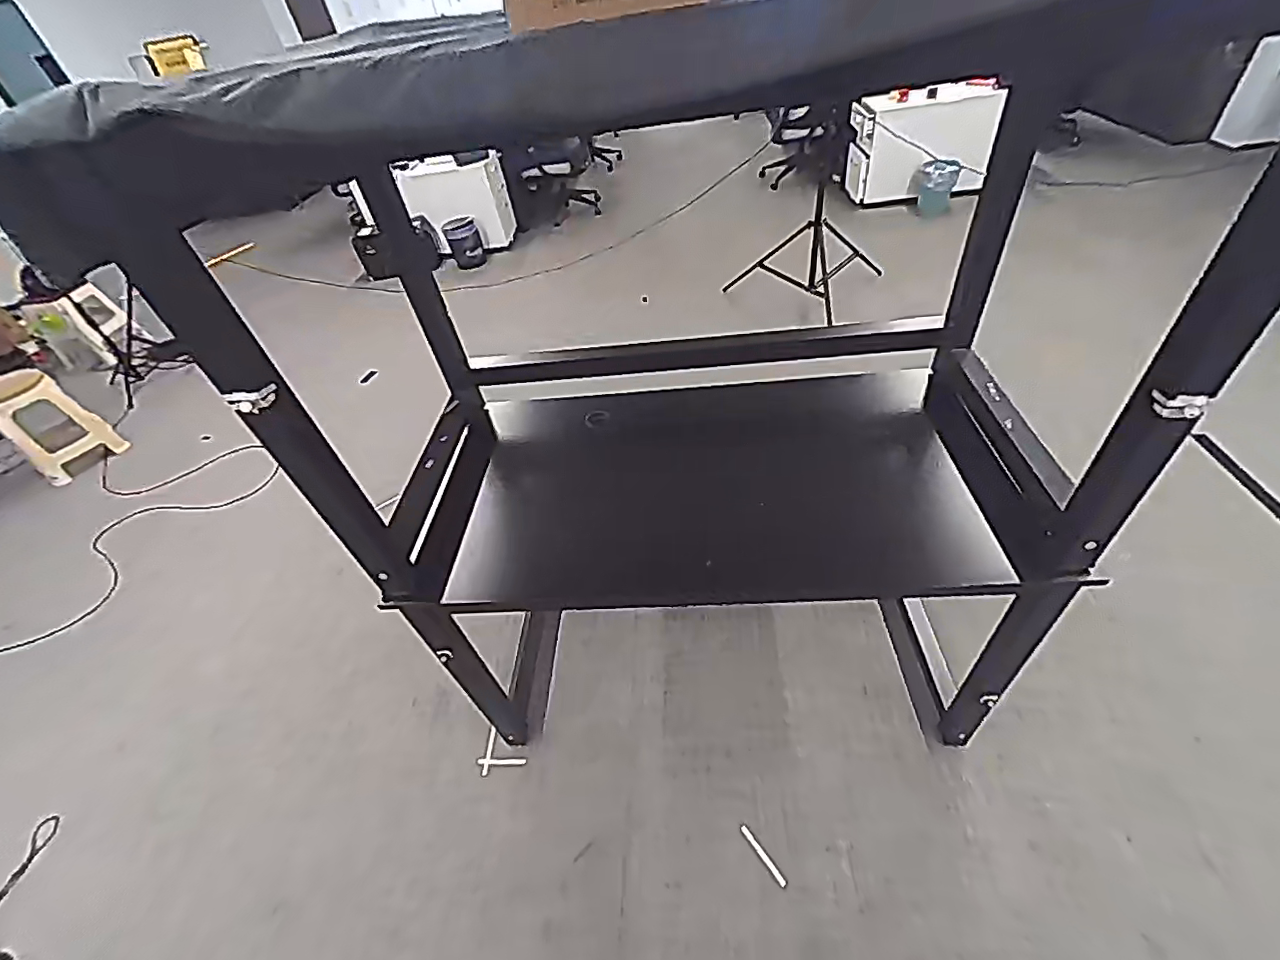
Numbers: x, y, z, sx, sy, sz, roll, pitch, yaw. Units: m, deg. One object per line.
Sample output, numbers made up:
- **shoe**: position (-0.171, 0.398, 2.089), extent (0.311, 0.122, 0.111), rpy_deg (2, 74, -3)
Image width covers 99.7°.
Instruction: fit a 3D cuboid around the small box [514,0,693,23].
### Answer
- **small box**: position (-0.028, -0.494, 0.443), extent (0.168, 0.176, 0.179), rpy_deg (-3, 42, 9)
